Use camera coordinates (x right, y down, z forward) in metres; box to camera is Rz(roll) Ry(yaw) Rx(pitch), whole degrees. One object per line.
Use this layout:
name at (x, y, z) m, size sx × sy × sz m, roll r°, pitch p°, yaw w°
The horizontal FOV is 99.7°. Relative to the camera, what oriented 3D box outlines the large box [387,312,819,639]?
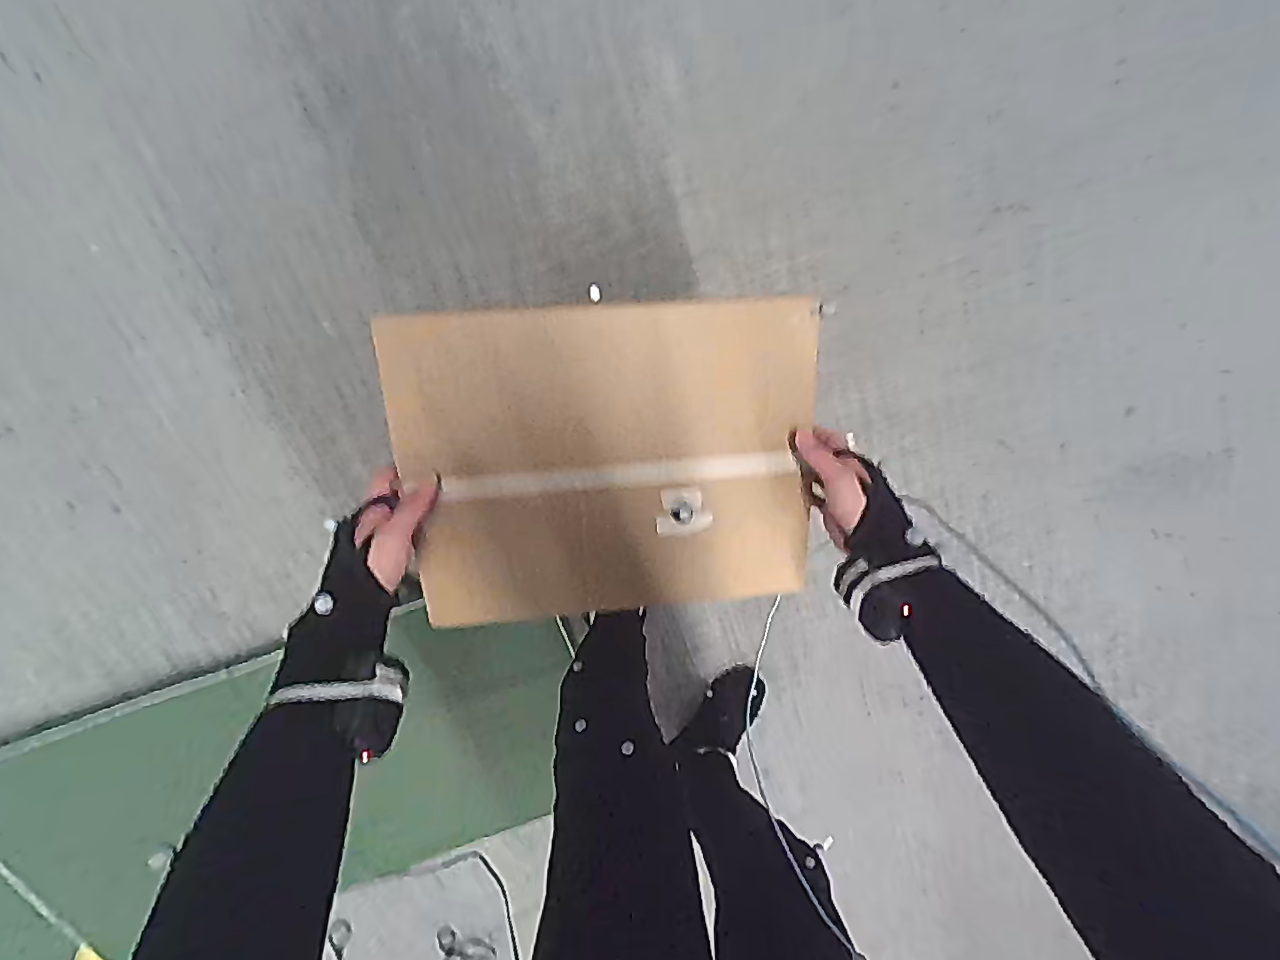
large box at (-0.039, -0.040, 0.677) m, size 0.408 × 0.320 × 0.320 m, roll -4°, pitch 109°, yaw -6°
